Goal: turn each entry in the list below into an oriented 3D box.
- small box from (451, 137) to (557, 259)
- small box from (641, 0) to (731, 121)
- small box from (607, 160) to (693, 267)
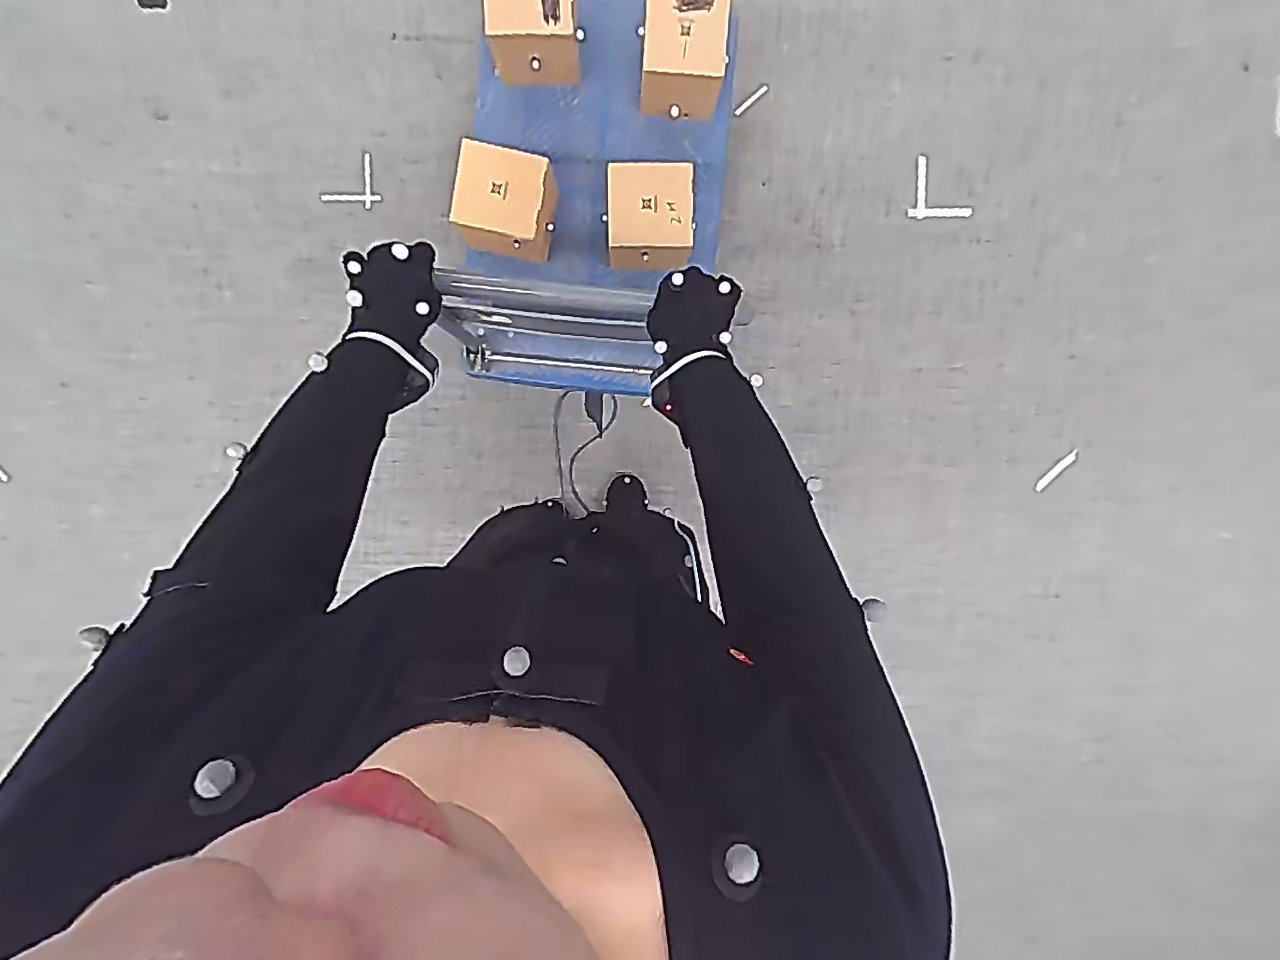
[{"bbox_3d":[-0.286,-0.598,1.170,0.179,0.176,0.168,11,94,-4],"label":"small box"},{"bbox_3d":[0.091,-0.909,1.150,0.168,0.176,0.179,4,96,-2],"label":"small box"},{"bbox_3d":[0.020,-0.573,1.181,0.179,0.176,0.168,0,96,-1],"label":"small box"}]
